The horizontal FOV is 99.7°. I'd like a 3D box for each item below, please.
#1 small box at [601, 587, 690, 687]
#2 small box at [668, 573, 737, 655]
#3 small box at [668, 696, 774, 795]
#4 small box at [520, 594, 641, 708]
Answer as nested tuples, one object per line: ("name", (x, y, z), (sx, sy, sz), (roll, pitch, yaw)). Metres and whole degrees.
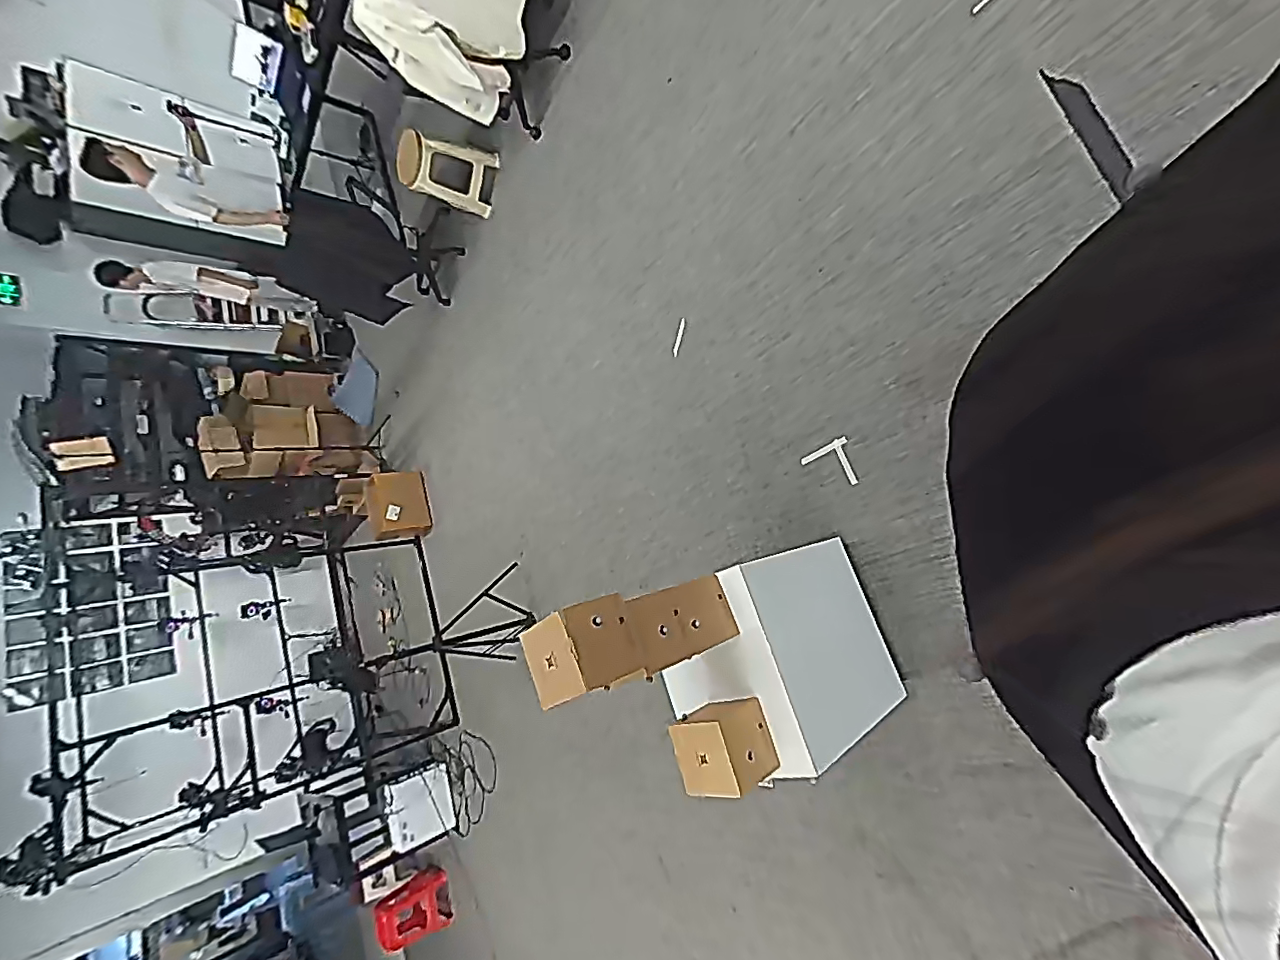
("small box", (-0.006, 0.362, 1.260), (0.179, 0.176, 0.168), (-34, 71, 42))
("small box", (0.112, 0.350, 1.374), (0.179, 0.176, 0.168), (-35, 71, 42))
("small box", (0.203, 0.638, 1.311), (0.179, 0.176, 0.168), (-31, 71, 44))
("small box", (-0.119, 0.356, 1.142), (0.179, 0.176, 0.168), (-40, 66, 41))
